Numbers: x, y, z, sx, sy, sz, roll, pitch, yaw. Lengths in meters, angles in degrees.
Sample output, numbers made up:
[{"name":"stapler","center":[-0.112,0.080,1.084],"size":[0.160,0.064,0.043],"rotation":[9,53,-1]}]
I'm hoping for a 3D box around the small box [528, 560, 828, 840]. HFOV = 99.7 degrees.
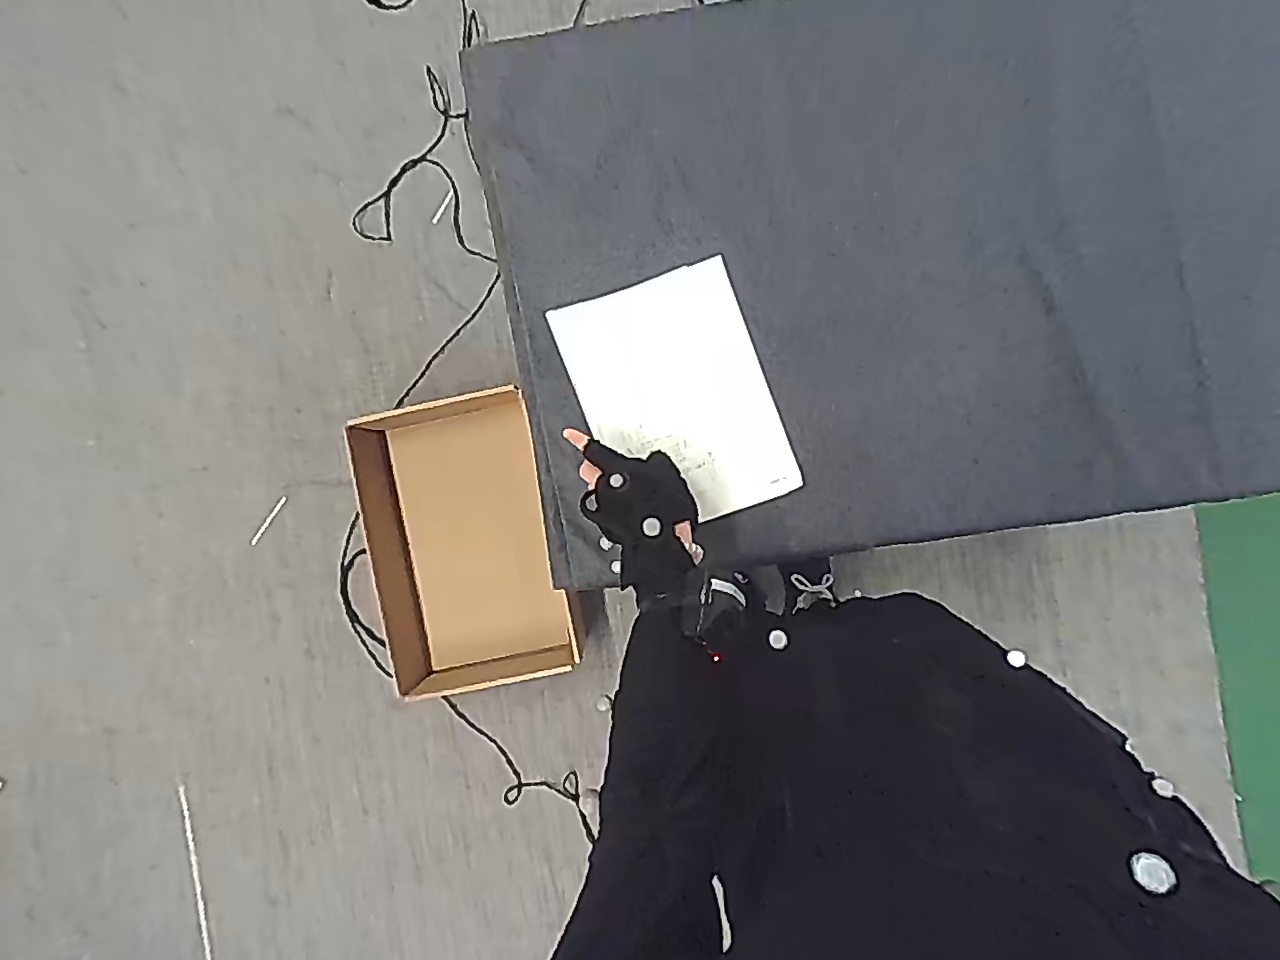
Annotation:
[{"name":"small box","center":[0.022,0.161,0.452],"size":[0.179,0.176,0.168],"rotation":[-7,86,-27]}]
